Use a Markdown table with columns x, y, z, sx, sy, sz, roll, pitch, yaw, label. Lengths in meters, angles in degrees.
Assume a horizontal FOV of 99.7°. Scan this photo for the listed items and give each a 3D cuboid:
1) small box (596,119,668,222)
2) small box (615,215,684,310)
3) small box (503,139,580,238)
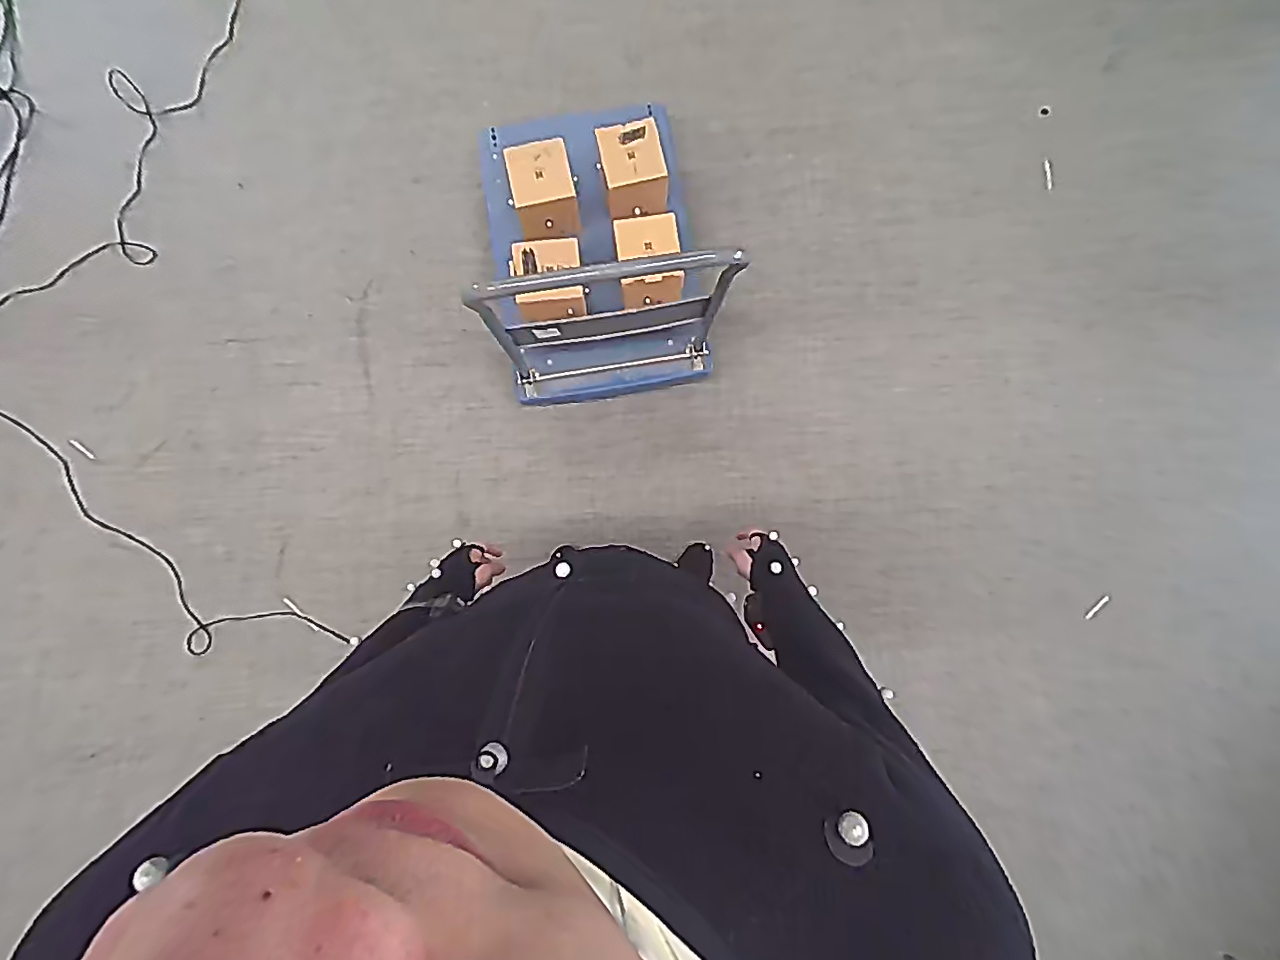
| x | y | z | sx | sy | sz | roll | pitch | yaw | label |
| --- | --- | --- | --- | --- | --- | --- | --- | --- | --- |
| -0.024 | -0.858 | 1.516 | 0.168 | 0.176 | 0.179 | -13 | 85 | -1 | small box |
| 0.021 | -0.593 | 1.489 | 0.168 | 0.176 | 0.179 | -8 | 84 | -1 | small box |
| -0.269 | -0.800 | 1.509 | 0.168 | 0.176 | 0.179 | -12 | 84 | -3 | small box |
